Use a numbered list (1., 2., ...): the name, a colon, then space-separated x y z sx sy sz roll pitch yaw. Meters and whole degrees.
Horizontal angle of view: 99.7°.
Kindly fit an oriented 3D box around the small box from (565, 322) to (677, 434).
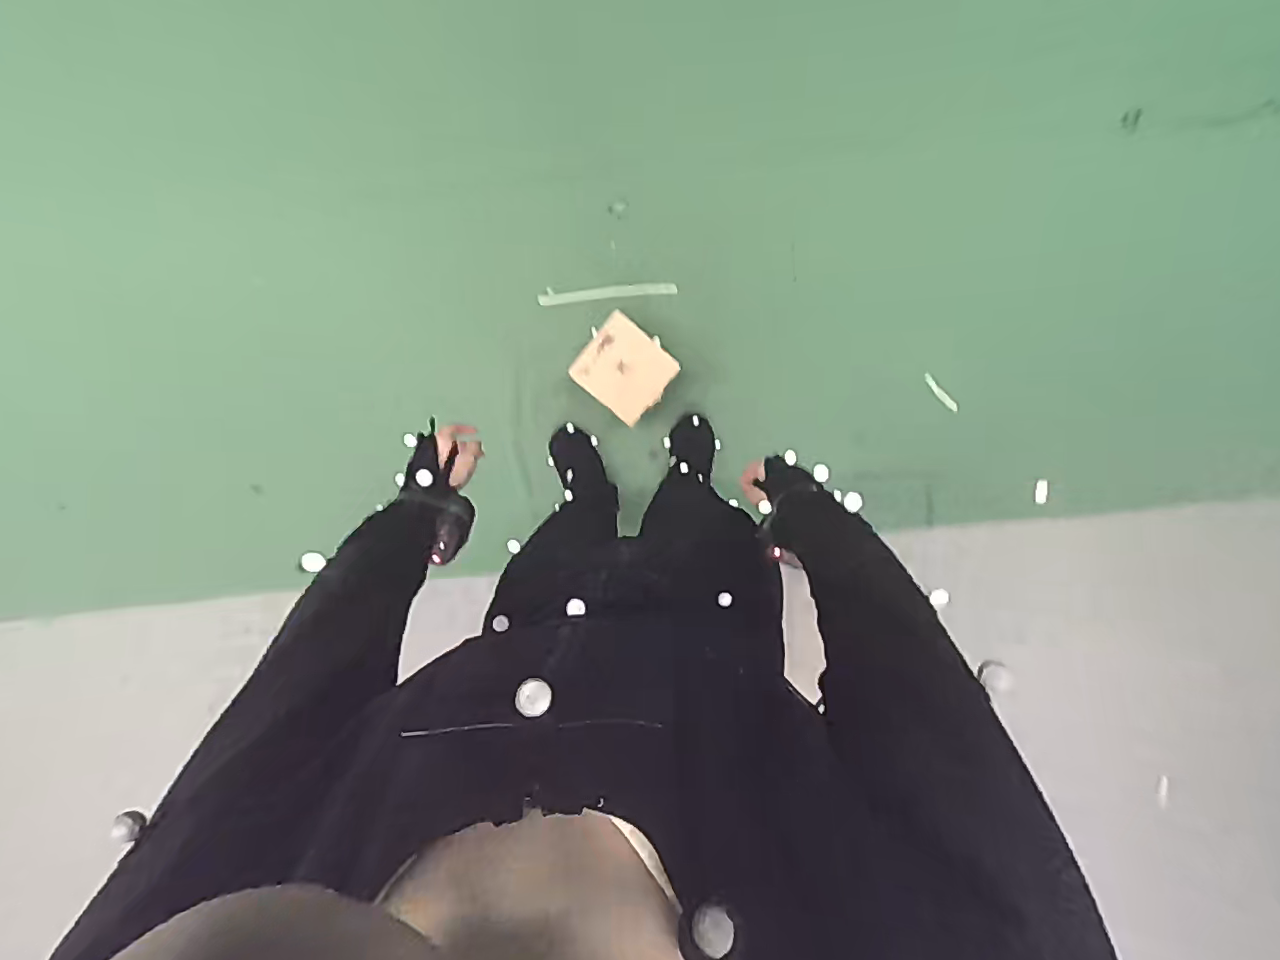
1. small box: -0.040 -0.229 1.194 0.179 0.176 0.168 40 99 -10
